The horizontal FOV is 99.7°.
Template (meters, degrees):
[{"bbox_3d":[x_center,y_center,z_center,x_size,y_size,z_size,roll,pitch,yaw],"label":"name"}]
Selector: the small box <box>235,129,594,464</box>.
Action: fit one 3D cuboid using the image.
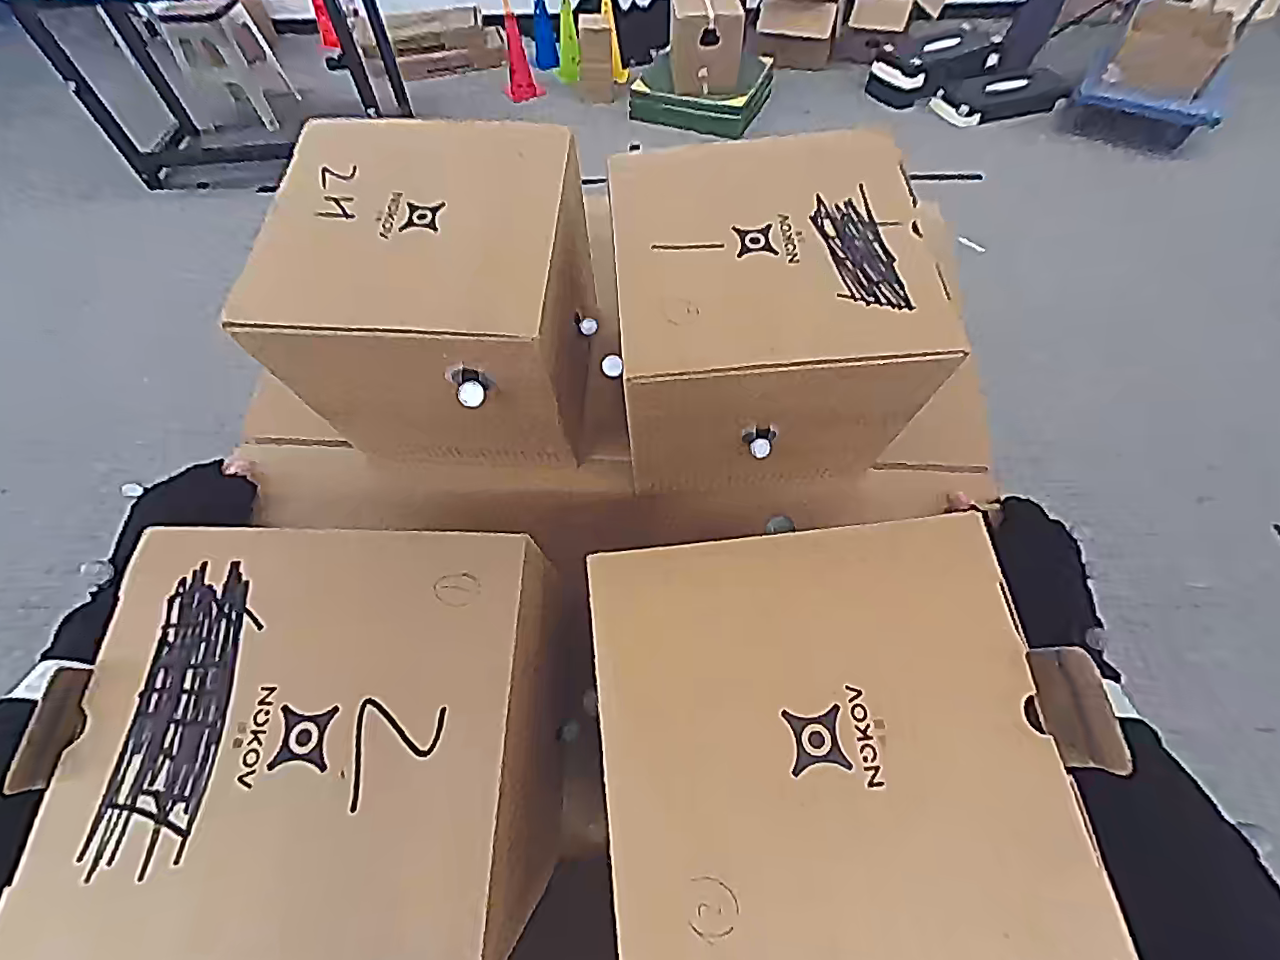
[{"bbox_3d":[-0.133,-0.121,0.401,0.179,0.176,0.168,4,67,3],"label":"small box"}]
